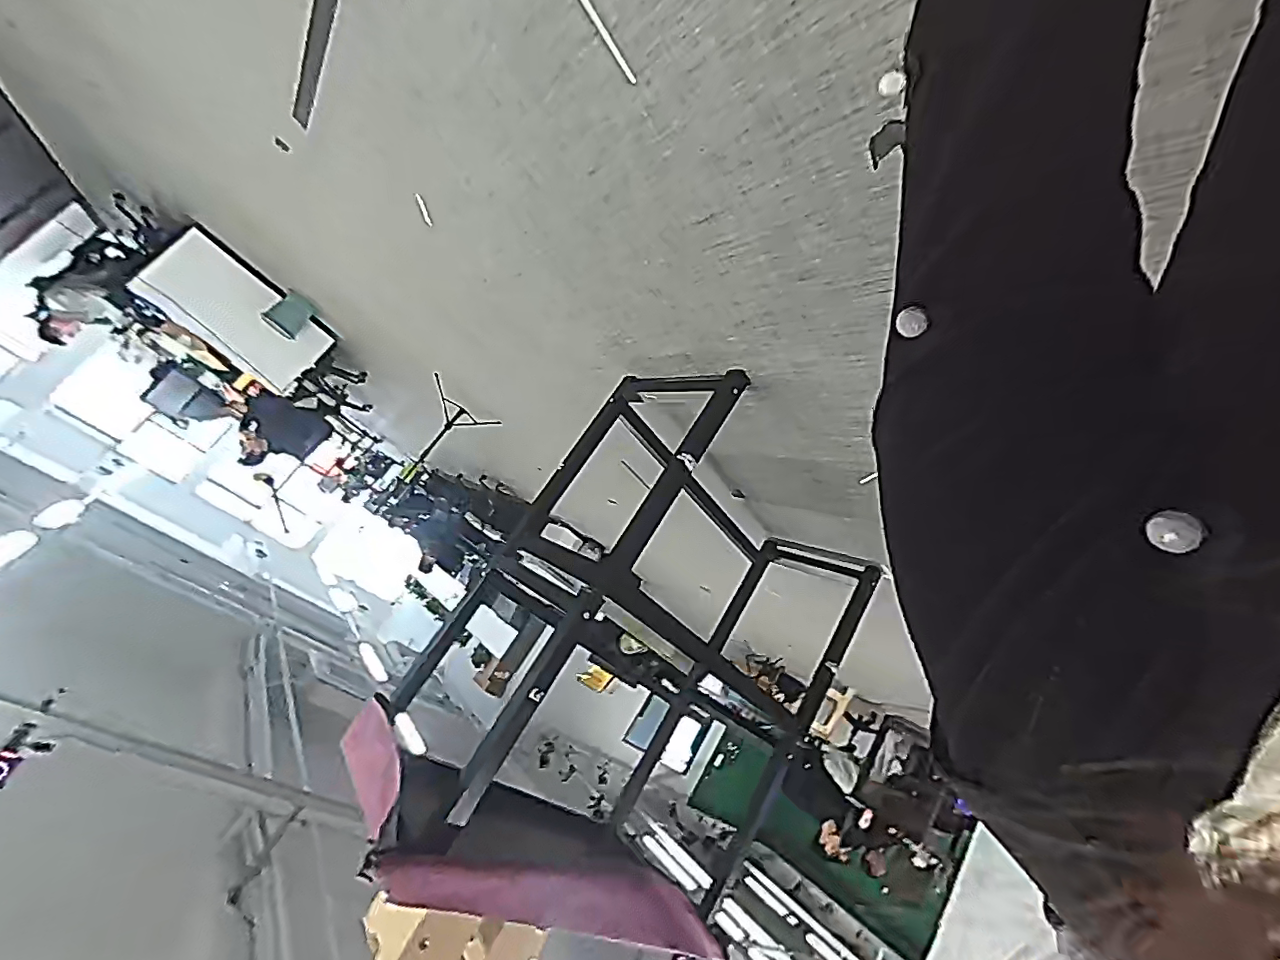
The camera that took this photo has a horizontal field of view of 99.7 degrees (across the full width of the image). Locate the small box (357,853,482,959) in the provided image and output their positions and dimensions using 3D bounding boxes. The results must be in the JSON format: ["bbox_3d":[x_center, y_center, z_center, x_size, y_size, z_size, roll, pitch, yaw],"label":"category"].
[{"bbox_3d":[-0.505,0.999,1.247,0.168,0.176,0.179,17,157,48],"label":"small box"}]

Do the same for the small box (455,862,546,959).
[{"bbox_3d":[-0.372,1.143,1.404,0.179,0.176,0.168,14,154,52],"label":"small box"}]
